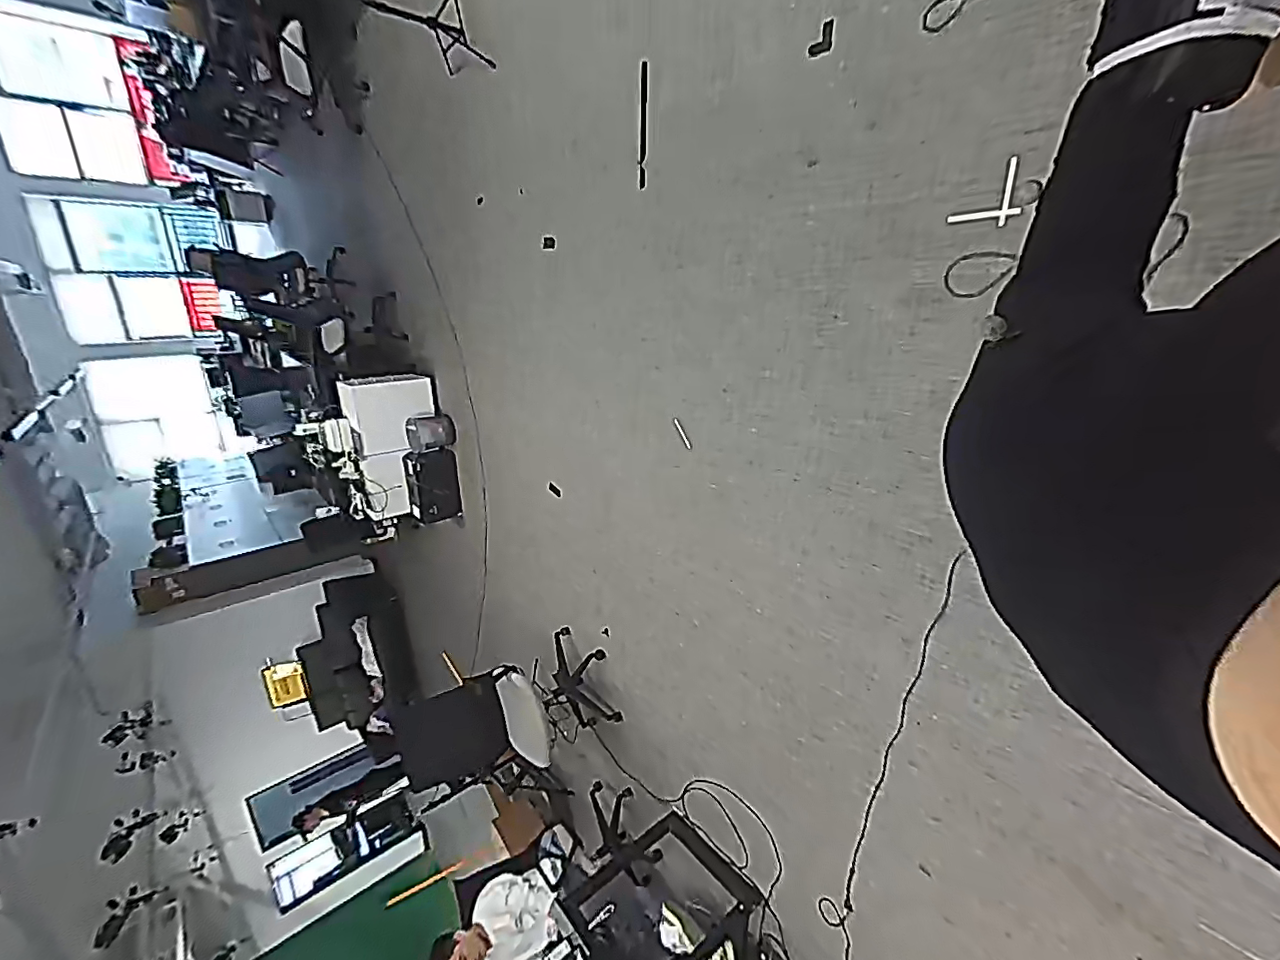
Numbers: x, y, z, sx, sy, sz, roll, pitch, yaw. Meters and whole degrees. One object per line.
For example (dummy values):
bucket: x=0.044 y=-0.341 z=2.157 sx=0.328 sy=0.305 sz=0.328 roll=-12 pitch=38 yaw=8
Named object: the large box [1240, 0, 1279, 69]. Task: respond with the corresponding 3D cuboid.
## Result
large box: x=0.603 y=-0.459 z=0.243 sx=0.408 sy=0.320 sz=0.320 roll=17 pitch=120 yaw=47
